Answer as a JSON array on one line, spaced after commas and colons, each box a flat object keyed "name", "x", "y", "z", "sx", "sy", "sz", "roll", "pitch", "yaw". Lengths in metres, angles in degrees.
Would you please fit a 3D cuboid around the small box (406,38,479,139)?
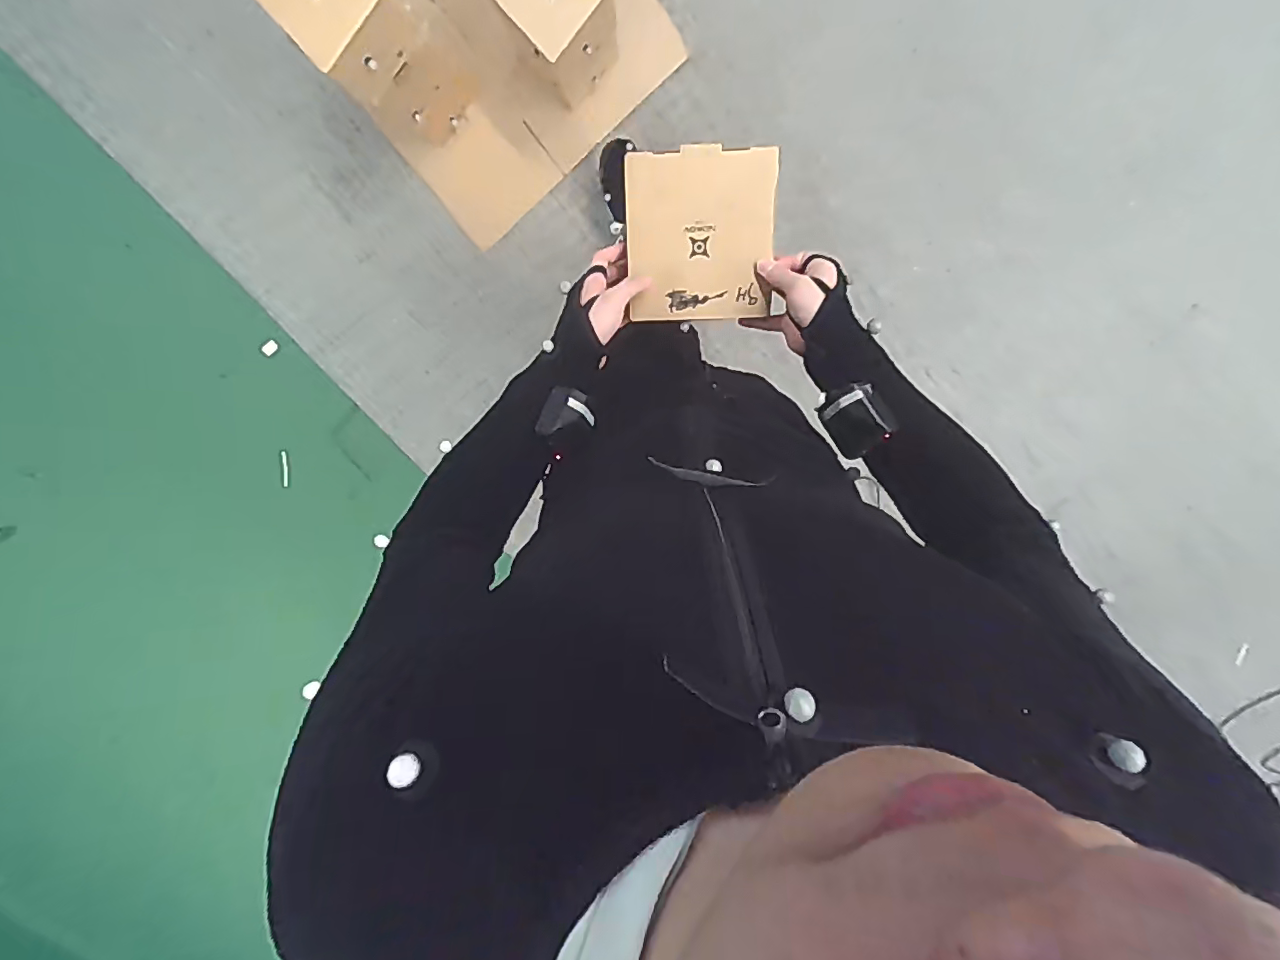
[{"name": "small box", "x": -0.502, "y": -0.919, "z": 1.229, "sx": 0.179, "sy": 0.176, "sz": 0.168, "roll": 42, "pitch": 107, "yaw": -13}]

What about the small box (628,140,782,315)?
[{"name": "small box", "x": 0.072, "y": -0.299, "z": 0.670, "sx": 0.168, "sy": 0.176, "sz": 0.179, "roll": 0, "pitch": 110, "yaw": 4}]

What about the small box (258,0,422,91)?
[{"name": "small box", "x": -0.512, "y": -0.809, "z": 0.923, "sx": 0.168, "sy": 0.176, "sz": 0.179, "roll": -40, "pitch": 103, "yaw": 16}]

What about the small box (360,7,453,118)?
[{"name": "small box", "x": -0.508, "y": -0.862, "z": 1.076, "sx": 0.168, "sy": 0.176, "sz": 0.179, "roll": -41, "pitch": 103, "yaw": 16}]

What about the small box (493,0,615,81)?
[{"name": "small box", "x": -0.164, "y": -0.914, "z": 1.037, "sx": 0.179, "sy": 0.176, "sz": 0.168, "roll": 43, "pitch": 105, "yaw": -13}]
